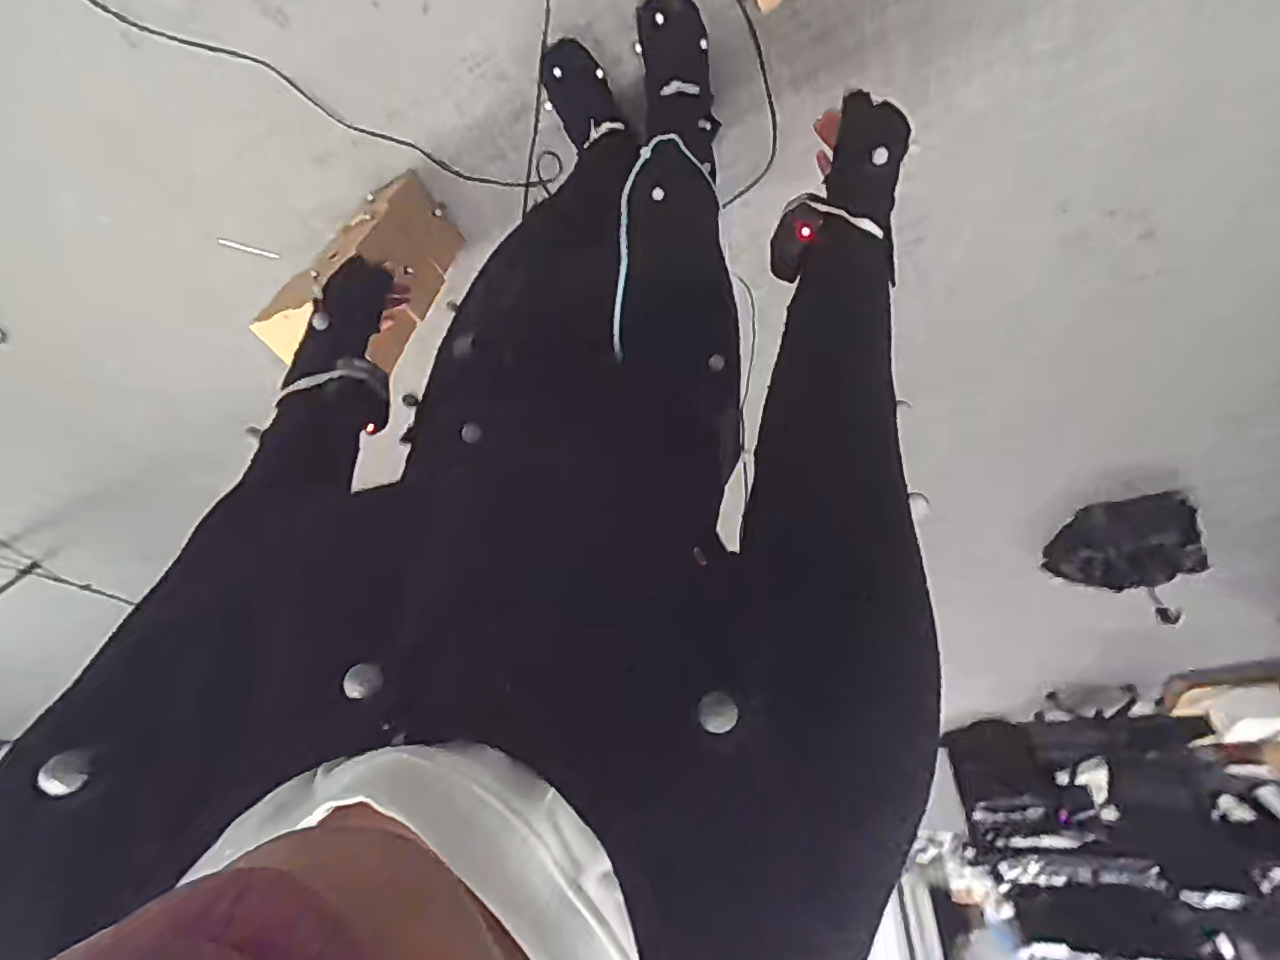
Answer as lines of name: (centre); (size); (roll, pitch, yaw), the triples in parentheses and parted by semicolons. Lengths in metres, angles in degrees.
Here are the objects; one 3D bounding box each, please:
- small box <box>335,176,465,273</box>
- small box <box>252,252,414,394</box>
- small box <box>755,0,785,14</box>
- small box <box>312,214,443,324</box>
small box: (-0.533, -0.555, 1.223); (0.168, 0.176, 0.179); (-14, 136, 26)
small box: (-0.565, -0.295, 1.023); (0.168, 0.176, 0.179); (-10, 138, 18)
small box: (0.219, -0.845, 0.789); (0.168, 0.176, 0.179); (-18, 135, 24)
small box: (-0.546, -0.422, 1.123); (0.168, 0.176, 0.179); (-14, 138, 22)
